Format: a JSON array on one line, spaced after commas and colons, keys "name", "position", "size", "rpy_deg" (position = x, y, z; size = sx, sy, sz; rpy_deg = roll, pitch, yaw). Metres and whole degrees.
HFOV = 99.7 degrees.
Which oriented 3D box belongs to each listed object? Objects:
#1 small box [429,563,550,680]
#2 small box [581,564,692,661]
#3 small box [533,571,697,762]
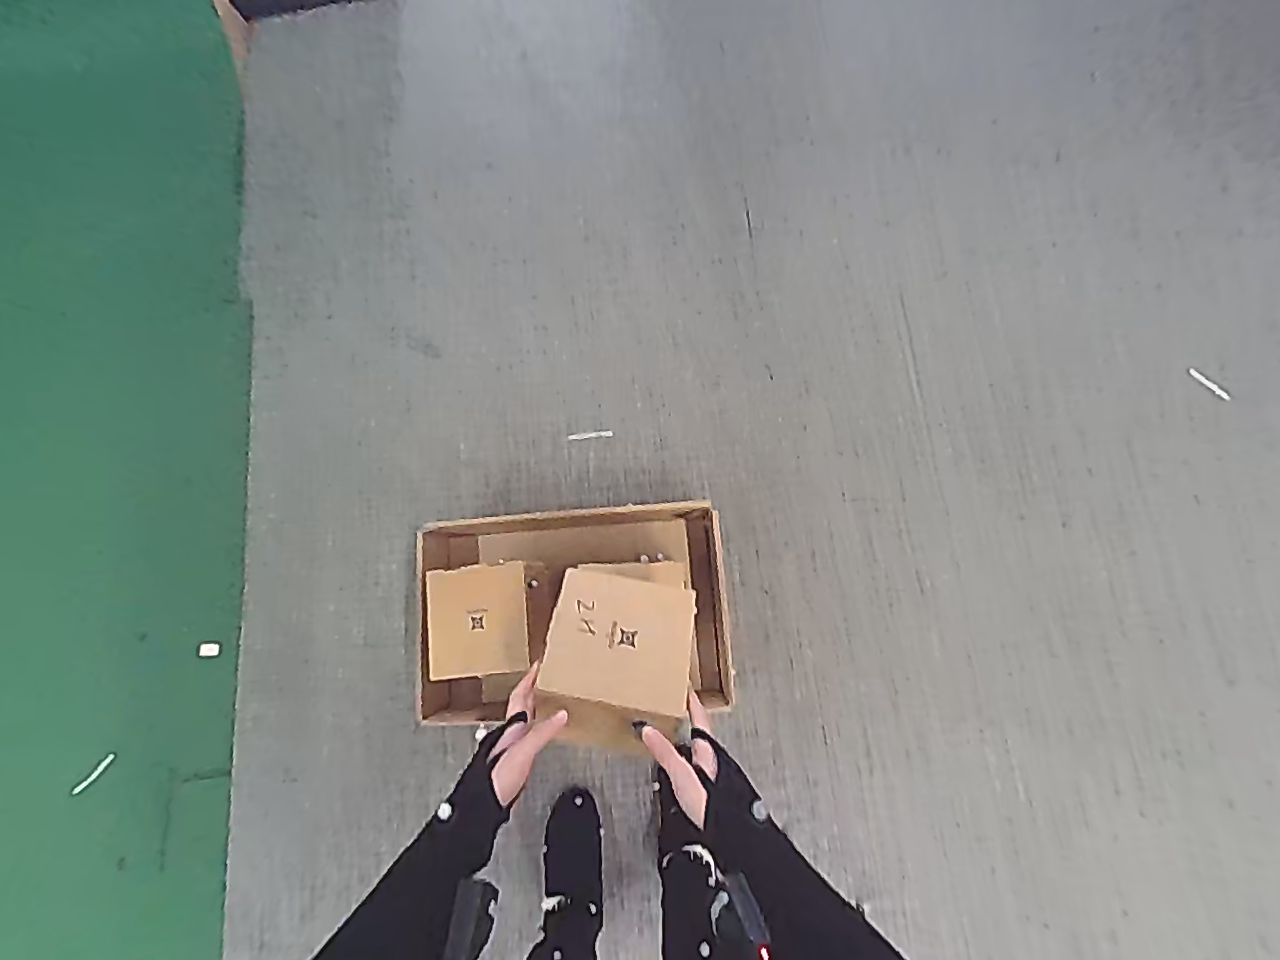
[{"name": "small box", "position": [-0.259, 0.244, 0.961], "size": [0.168, 0.176, 0.179], "rpy_deg": [-7, 78, 1]}, {"name": "small box", "position": [-0.003, 0.230, 0.938], "size": [0.179, 0.176, 0.168], "rpy_deg": [-2, 79, 4]}, {"name": "small box", "position": [-0.032, 0.247, 0.706], "size": [0.179, 0.176, 0.168], "rpy_deg": [10, 44, 1]}]
